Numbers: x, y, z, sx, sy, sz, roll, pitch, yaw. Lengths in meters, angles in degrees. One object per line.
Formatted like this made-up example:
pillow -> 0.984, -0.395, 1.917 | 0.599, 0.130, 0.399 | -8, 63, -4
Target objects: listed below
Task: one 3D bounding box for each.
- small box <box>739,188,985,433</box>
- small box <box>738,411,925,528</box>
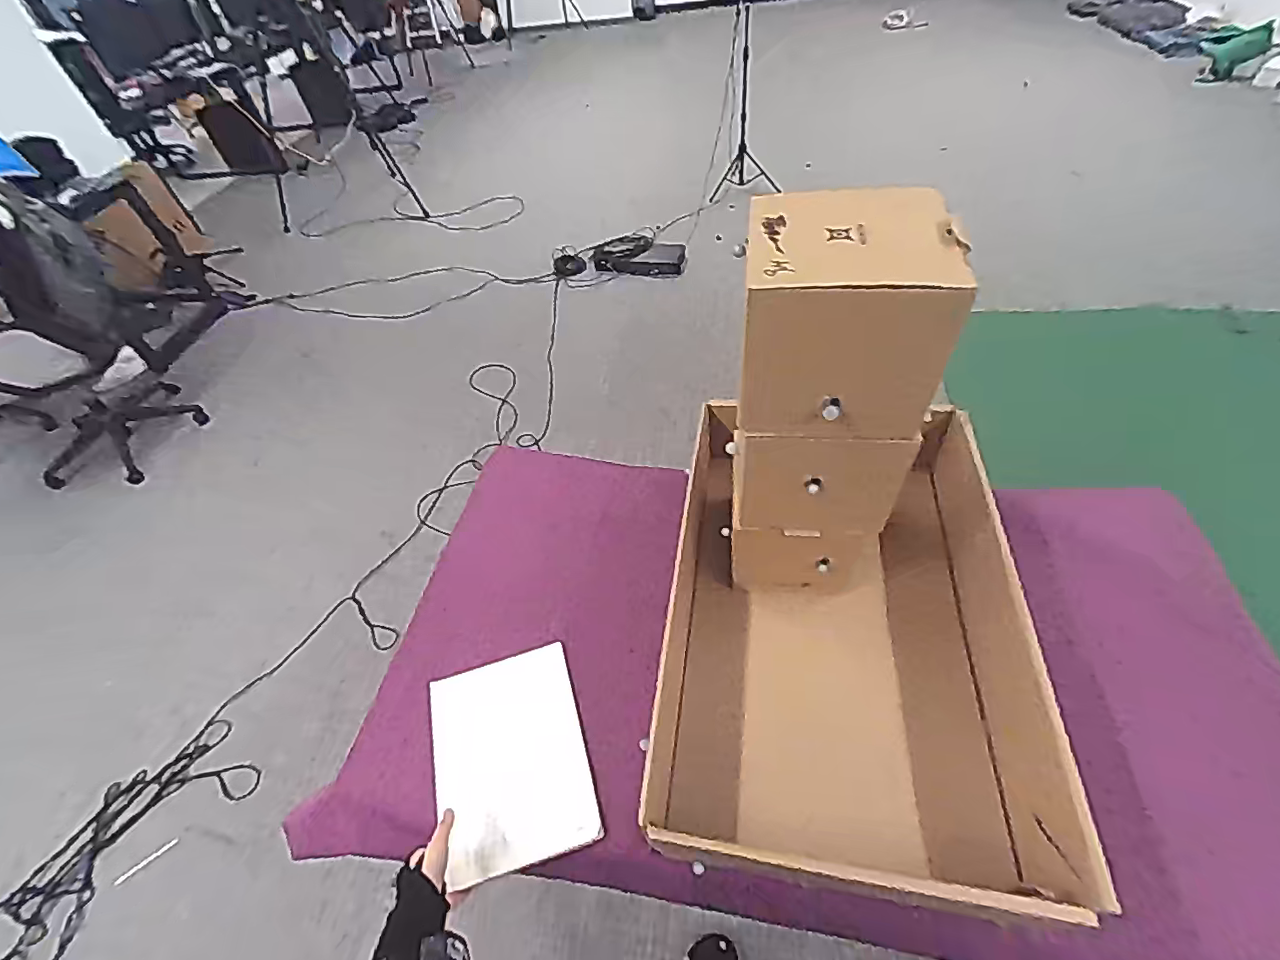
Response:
small box -> 0.195, -0.162, 0.531 | 0.179, 0.176, 0.168 | 4, 51, 9
small box -> 0.213, -0.055, 0.654 | 0.179, 0.176, 0.168 | 2, 51, 9
